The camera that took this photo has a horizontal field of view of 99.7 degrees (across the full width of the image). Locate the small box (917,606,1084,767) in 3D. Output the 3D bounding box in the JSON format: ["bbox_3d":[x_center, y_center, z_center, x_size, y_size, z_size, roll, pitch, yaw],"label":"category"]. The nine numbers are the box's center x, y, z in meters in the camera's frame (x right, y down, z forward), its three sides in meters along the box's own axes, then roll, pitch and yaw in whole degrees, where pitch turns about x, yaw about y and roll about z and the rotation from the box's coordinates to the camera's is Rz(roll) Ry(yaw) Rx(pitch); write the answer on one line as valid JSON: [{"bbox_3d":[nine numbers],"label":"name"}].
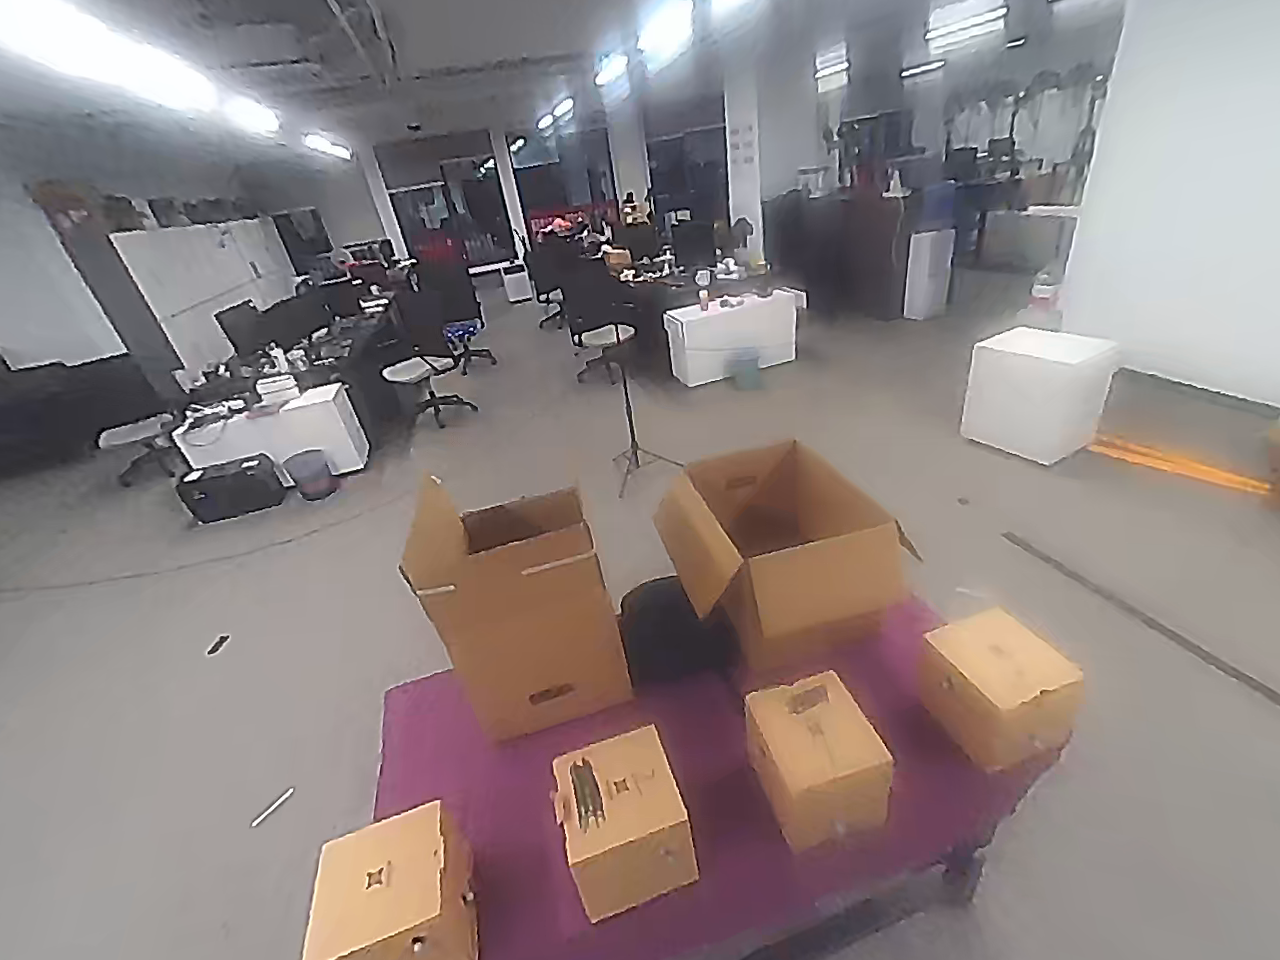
[{"bbox_3d":[0.618,0.360,0.954,0.168,0.176,0.179,-17,30,-9],"label":"small box"}]

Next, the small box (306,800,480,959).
[{"bbox_3d":[-0.348,0.623,0.792,0.179,0.176,0.168,-16,30,-13],"label":"small box"}]
